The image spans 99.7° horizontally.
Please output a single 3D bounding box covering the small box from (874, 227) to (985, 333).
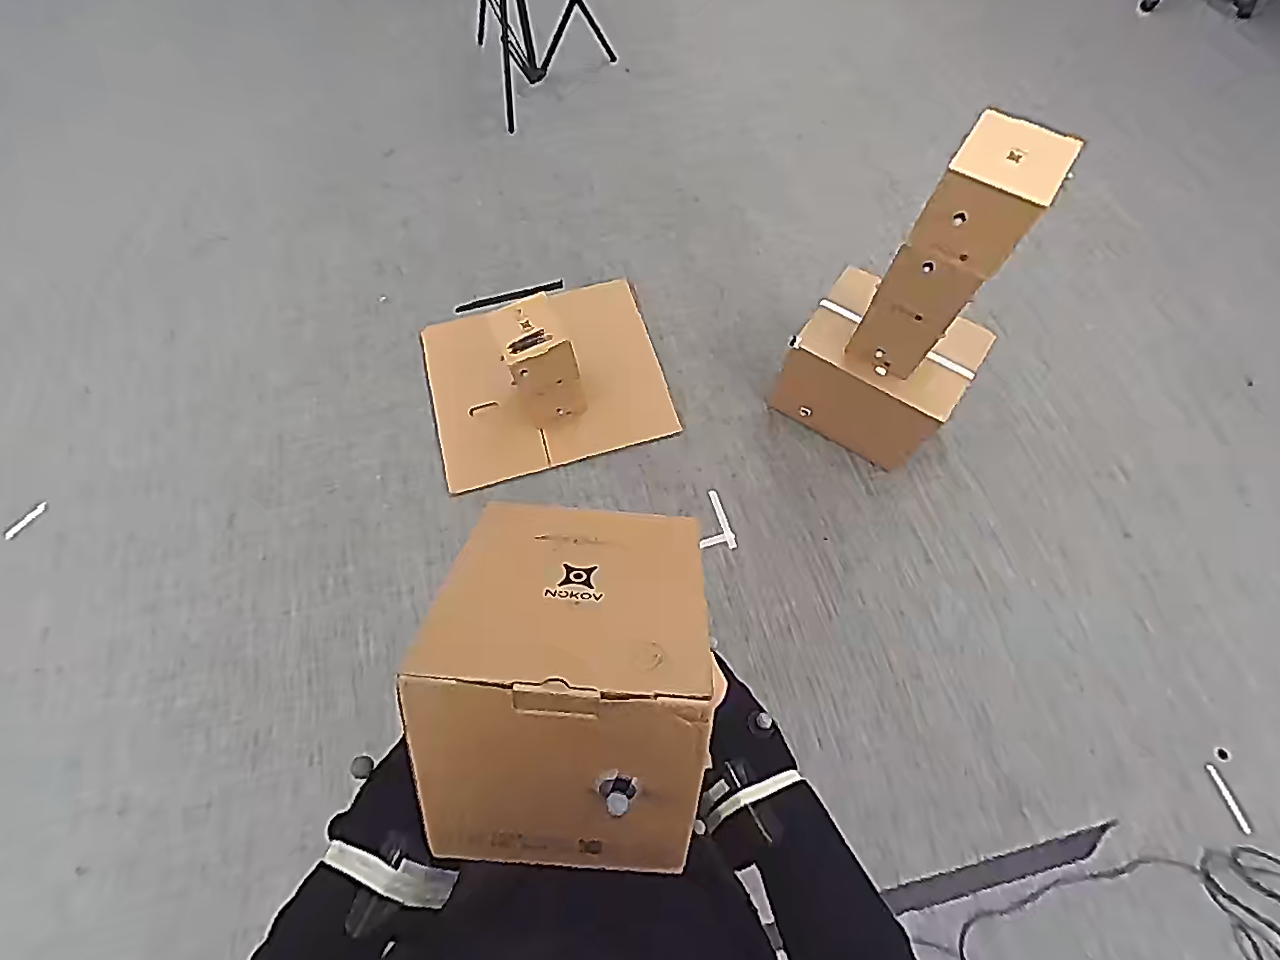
[{"bbox_3d":[0.612,-0.442,1.112,0.168,0.176,0.179,32,71,14],"label":"small box"}]

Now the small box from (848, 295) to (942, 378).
[{"bbox_3d":[0.614,-0.377,1.263,0.168,0.176,0.179,32,72,13],"label":"small box"}]

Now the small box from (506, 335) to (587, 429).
[{"bbox_3d":[-0.267,-0.279,1.569,0.168,0.176,0.179,-24,69,-6],"label":"small box"}]

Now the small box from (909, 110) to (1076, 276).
[{"bbox_3d":[0.610,-0.501,0.960,0.168,0.176,0.179,31,71,14],"label":"small box"}]

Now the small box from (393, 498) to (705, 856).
[{"bbox_3d":[-0.049,0.132,0.386,0.168,0.176,0.179,5,27,-1],"label":"small box"}]
